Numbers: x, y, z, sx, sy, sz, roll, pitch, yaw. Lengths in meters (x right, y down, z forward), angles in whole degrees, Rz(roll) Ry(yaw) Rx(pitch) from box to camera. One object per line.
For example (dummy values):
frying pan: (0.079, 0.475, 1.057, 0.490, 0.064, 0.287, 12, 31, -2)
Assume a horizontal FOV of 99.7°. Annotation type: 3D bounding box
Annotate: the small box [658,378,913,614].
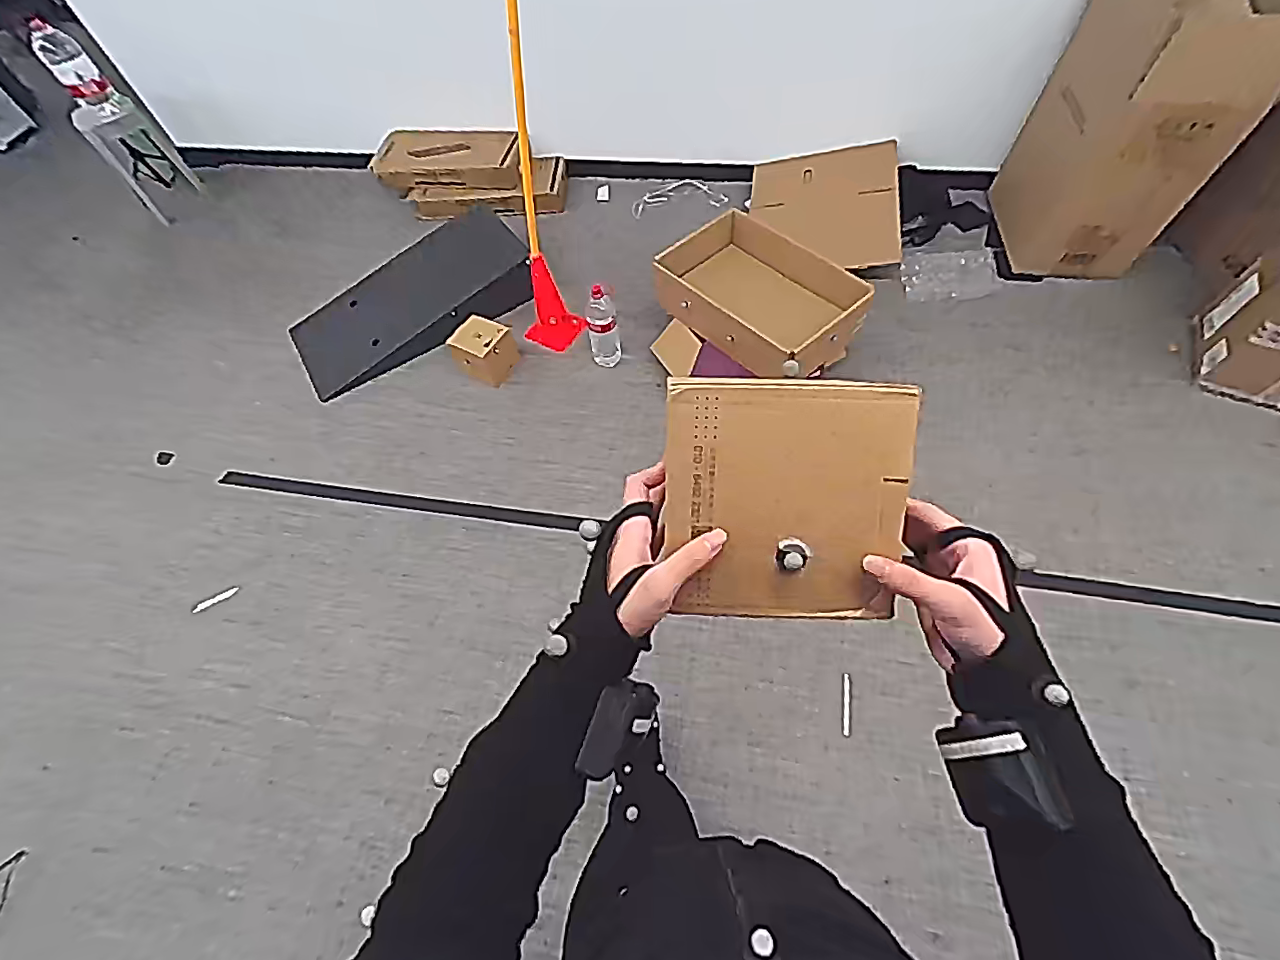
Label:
small box: (0.101, 0.001, 0.462, 0.176, 0.179, 0.168, 3, 103, 1)
